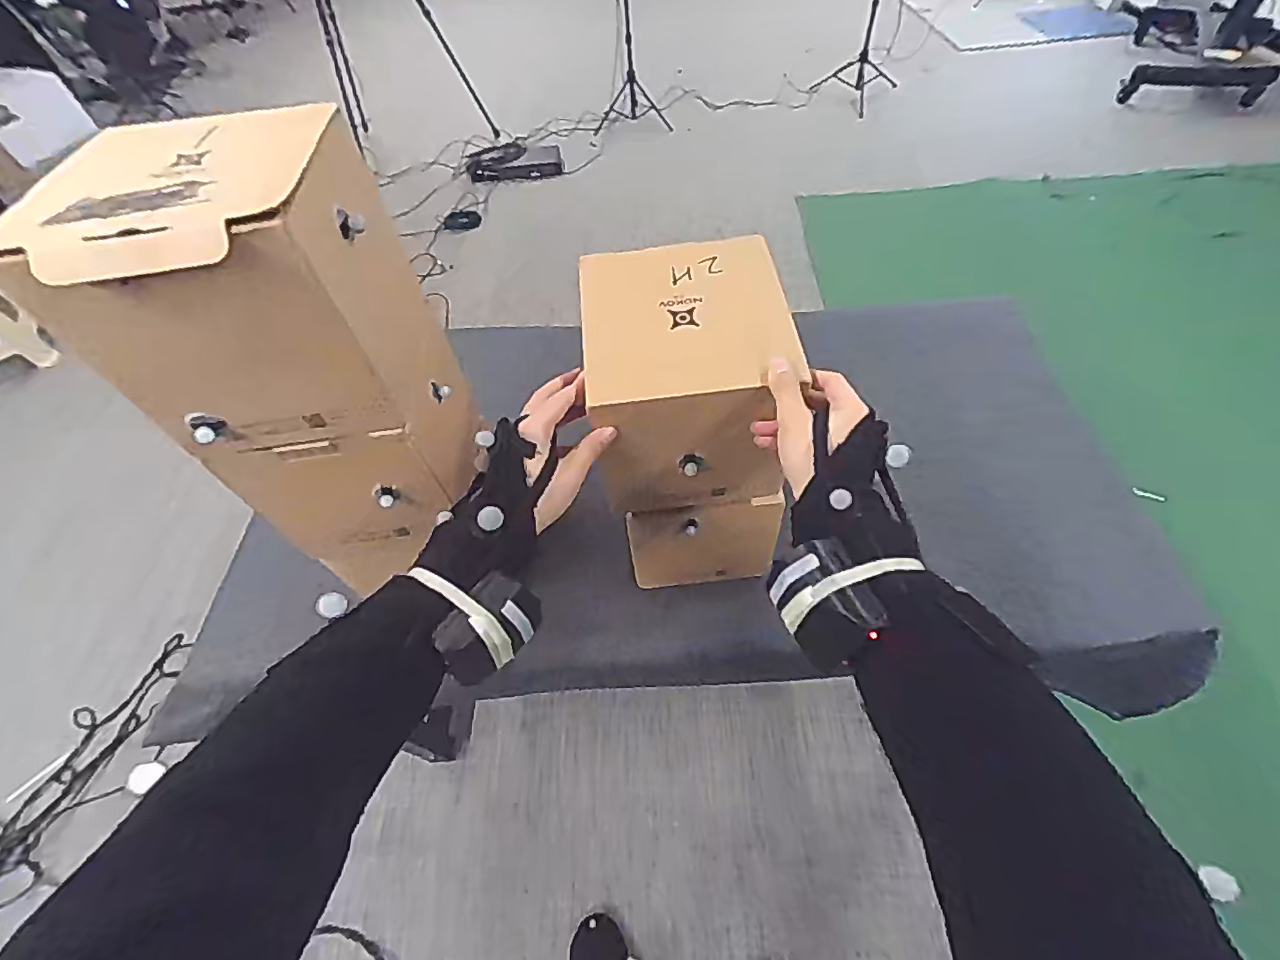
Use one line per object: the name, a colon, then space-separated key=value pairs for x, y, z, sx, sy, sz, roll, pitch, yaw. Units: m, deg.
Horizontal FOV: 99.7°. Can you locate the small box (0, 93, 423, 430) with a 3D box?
small box: x=-0.276 y=-0.152 z=0.402 sx=0.168 sy=0.176 sz=0.179 roll=-8 pitch=53 yaw=-4

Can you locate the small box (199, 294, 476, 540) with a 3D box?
small box: x=-0.268 y=-0.054 z=0.534 sx=0.168 sy=0.176 sz=0.179 roll=-7 pitch=53 yaw=-3

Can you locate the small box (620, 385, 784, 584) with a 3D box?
small box: x=0.065 y=0.008 z=0.666 sx=0.168 sy=0.176 sz=0.179 roll=-6 pitch=53 yaw=0

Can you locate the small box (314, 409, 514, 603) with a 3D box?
small box: x=-0.258 y=0.040 z=0.666 sx=0.168 sy=0.176 sz=0.179 roll=-7 pitch=54 yaw=-1
